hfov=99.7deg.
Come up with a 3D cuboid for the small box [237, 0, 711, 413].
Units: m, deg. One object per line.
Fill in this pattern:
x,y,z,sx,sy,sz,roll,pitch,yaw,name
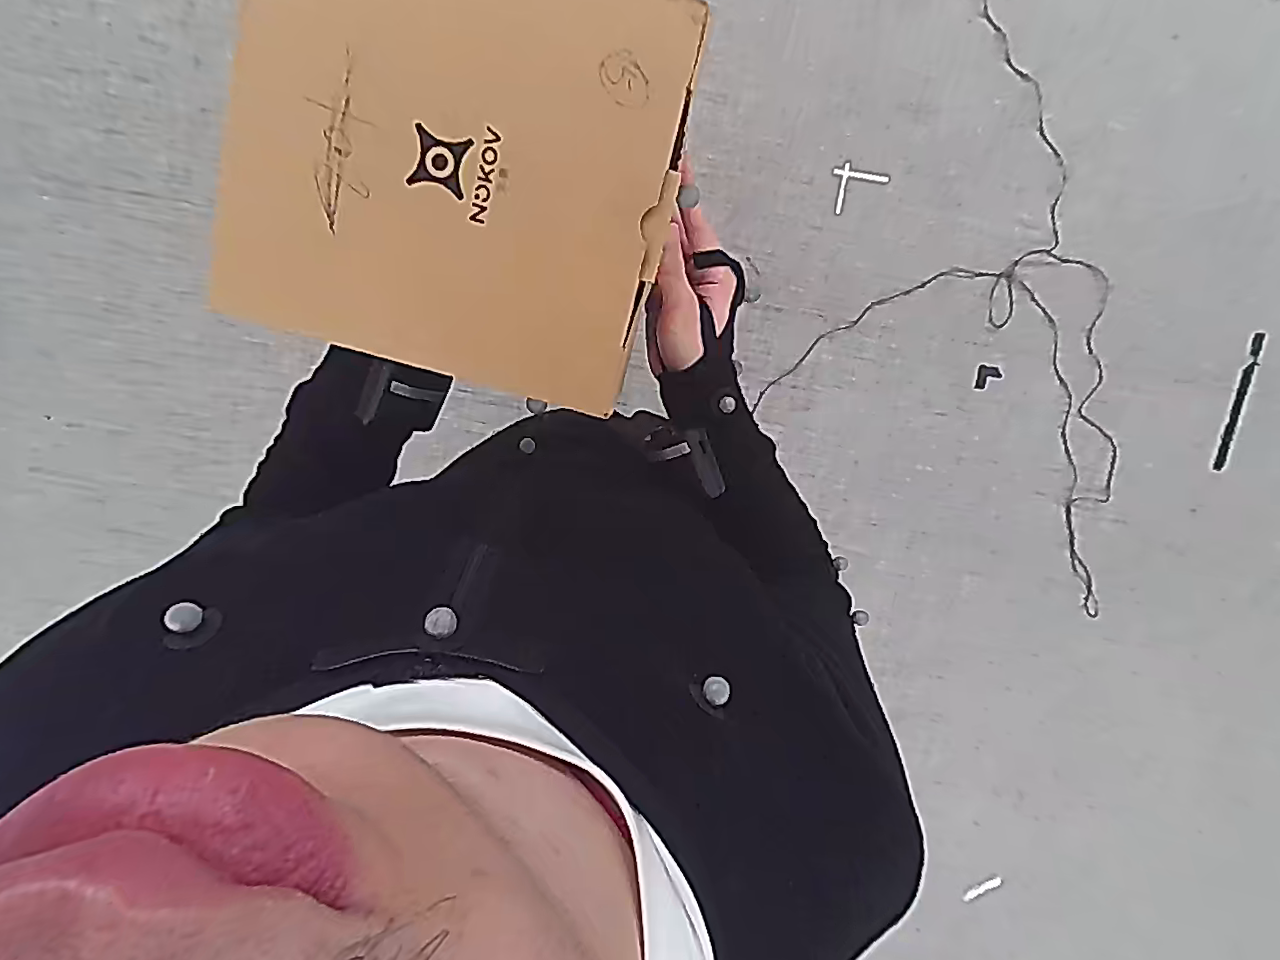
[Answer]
-0.075,-0.145,0.307,0.179,0.176,0.168,14,101,-3,small box
